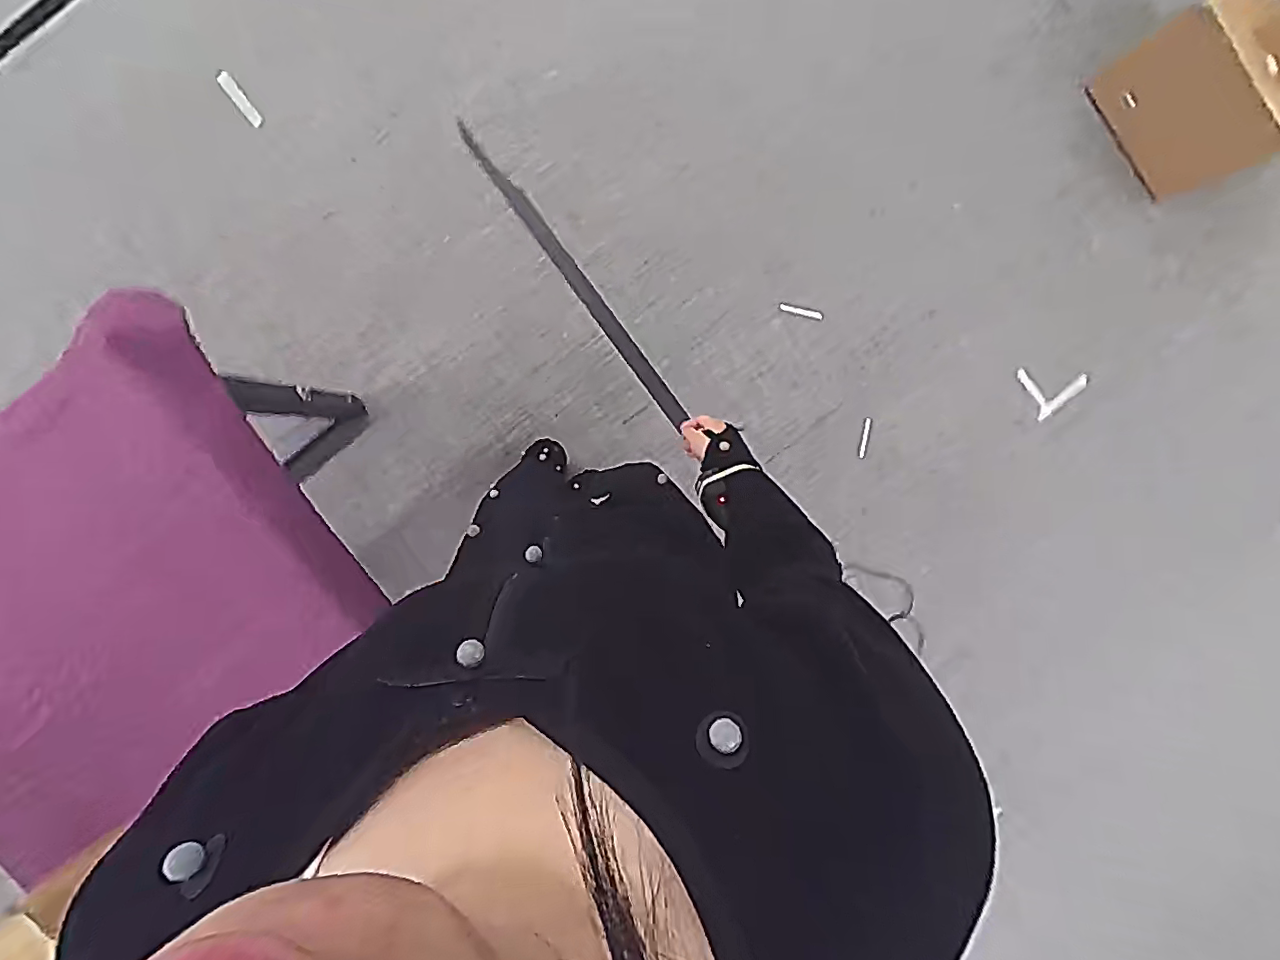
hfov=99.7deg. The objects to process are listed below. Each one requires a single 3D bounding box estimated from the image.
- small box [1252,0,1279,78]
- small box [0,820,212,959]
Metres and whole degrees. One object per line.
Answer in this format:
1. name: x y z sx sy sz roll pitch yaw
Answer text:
1. small box: 1.456 -0.982 1.119 0.168 0.176 0.179 -39 96 2
2. small box: -0.713 0.597 0.702 0.179 0.176 0.168 -35 95 0
